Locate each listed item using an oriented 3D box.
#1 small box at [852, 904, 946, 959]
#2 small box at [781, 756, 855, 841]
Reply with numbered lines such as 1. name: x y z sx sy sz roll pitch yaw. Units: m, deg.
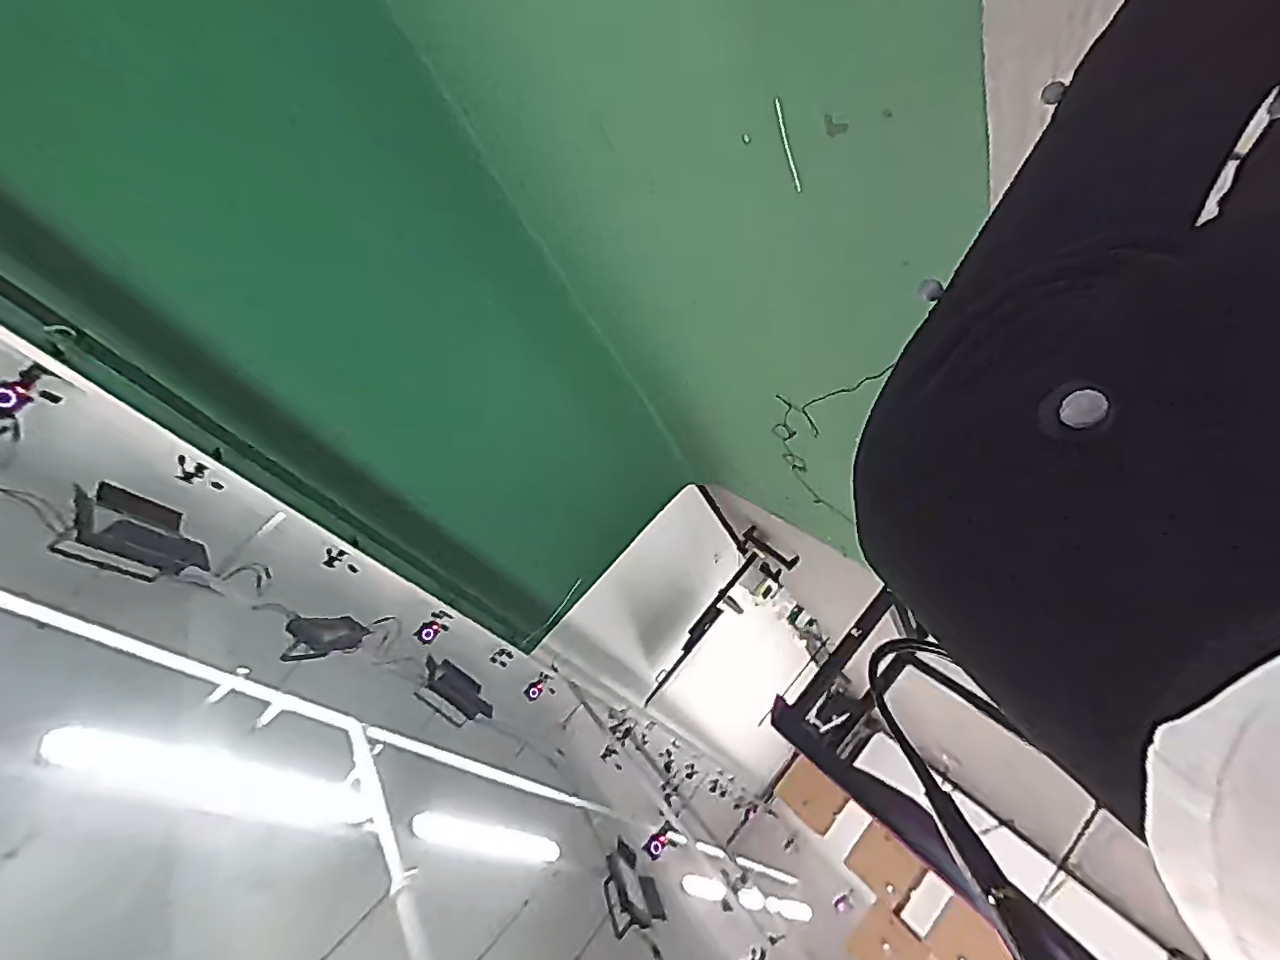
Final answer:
1. small box: 0.738 1.348 1.534 0.168 0.176 0.179 31 164 50
2. small box: 0.617 1.088 1.851 0.179 0.176 0.168 32 165 43
